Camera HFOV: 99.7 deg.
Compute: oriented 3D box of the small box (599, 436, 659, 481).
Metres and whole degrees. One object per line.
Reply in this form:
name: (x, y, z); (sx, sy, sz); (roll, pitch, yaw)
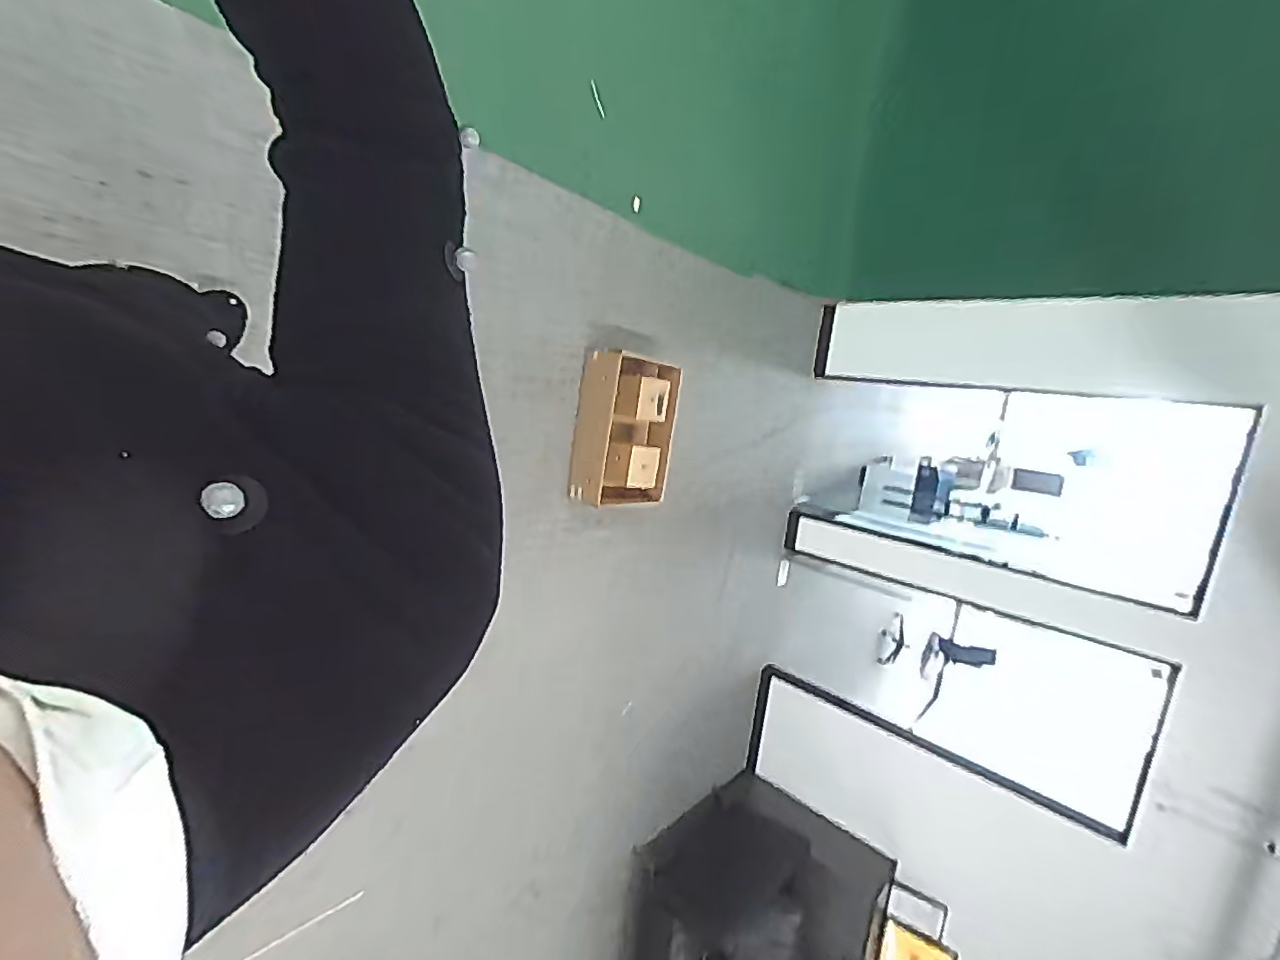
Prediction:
small box: (-0.049, -0.091, 2.269); (0.179, 0.176, 0.168); (2, 100, -49)
